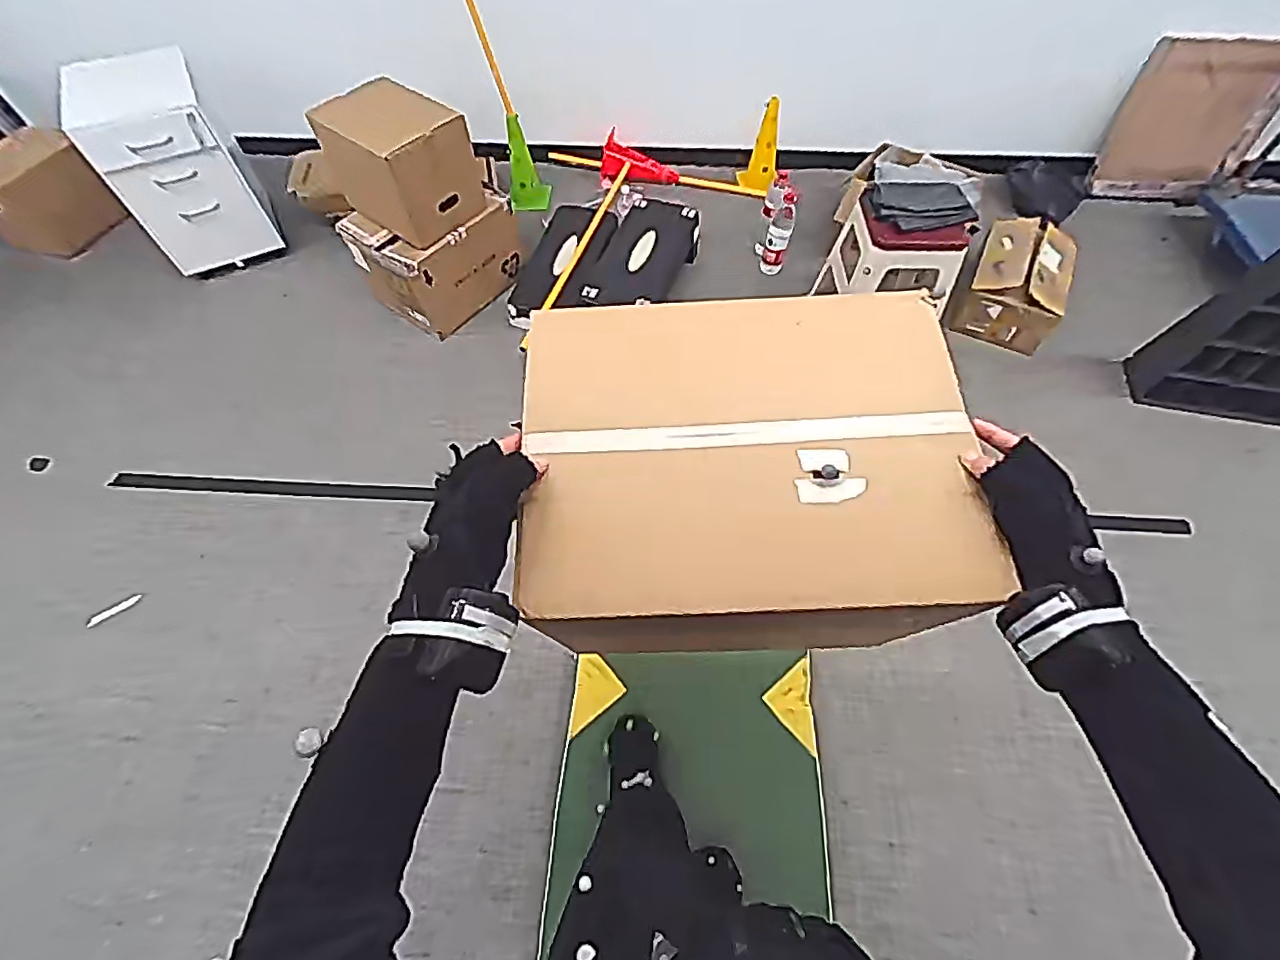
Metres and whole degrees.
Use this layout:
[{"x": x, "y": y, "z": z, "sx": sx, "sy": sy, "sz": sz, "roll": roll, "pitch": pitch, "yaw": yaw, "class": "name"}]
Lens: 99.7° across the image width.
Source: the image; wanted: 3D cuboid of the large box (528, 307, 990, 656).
[{"x": 0.096, "y": 0.026, "z": 0.653, "sx": 0.408, "sy": 0.320, "sz": 0.320, "roll": -3, "pitch": 67, "yaw": 1, "class": "large box"}]
